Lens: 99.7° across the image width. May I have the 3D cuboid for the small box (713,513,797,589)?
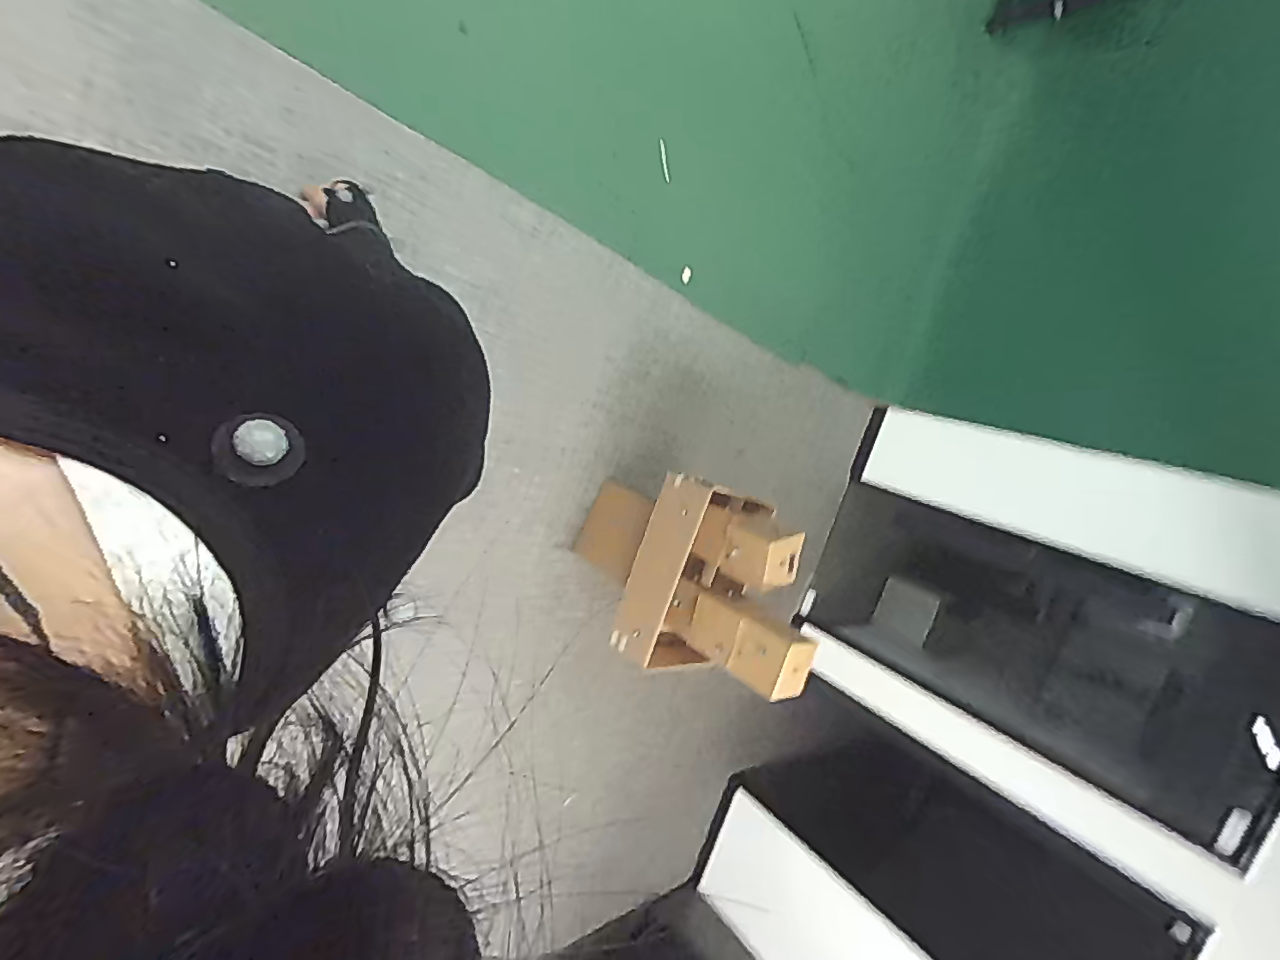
[{"bbox_3d":[0.355,0.213,1.679,0.179,0.176,0.168,-8,112,-40],"label":"small box"}]

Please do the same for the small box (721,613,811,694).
[{"bbox_3d":[0.365,0.500,1.582,0.179,0.176,0.168,14,96,-47],"label":"small box"}]

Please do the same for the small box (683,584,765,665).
[{"bbox_3d":[0.256,0.444,1.688,0.168,0.176,0.179,2,104,-45],"label":"small box"}]

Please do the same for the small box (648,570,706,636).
[{"bbox_3d":[0.156,0.421,1.821,0.179,0.176,0.168,28,86,-45],"label":"small box"}]
